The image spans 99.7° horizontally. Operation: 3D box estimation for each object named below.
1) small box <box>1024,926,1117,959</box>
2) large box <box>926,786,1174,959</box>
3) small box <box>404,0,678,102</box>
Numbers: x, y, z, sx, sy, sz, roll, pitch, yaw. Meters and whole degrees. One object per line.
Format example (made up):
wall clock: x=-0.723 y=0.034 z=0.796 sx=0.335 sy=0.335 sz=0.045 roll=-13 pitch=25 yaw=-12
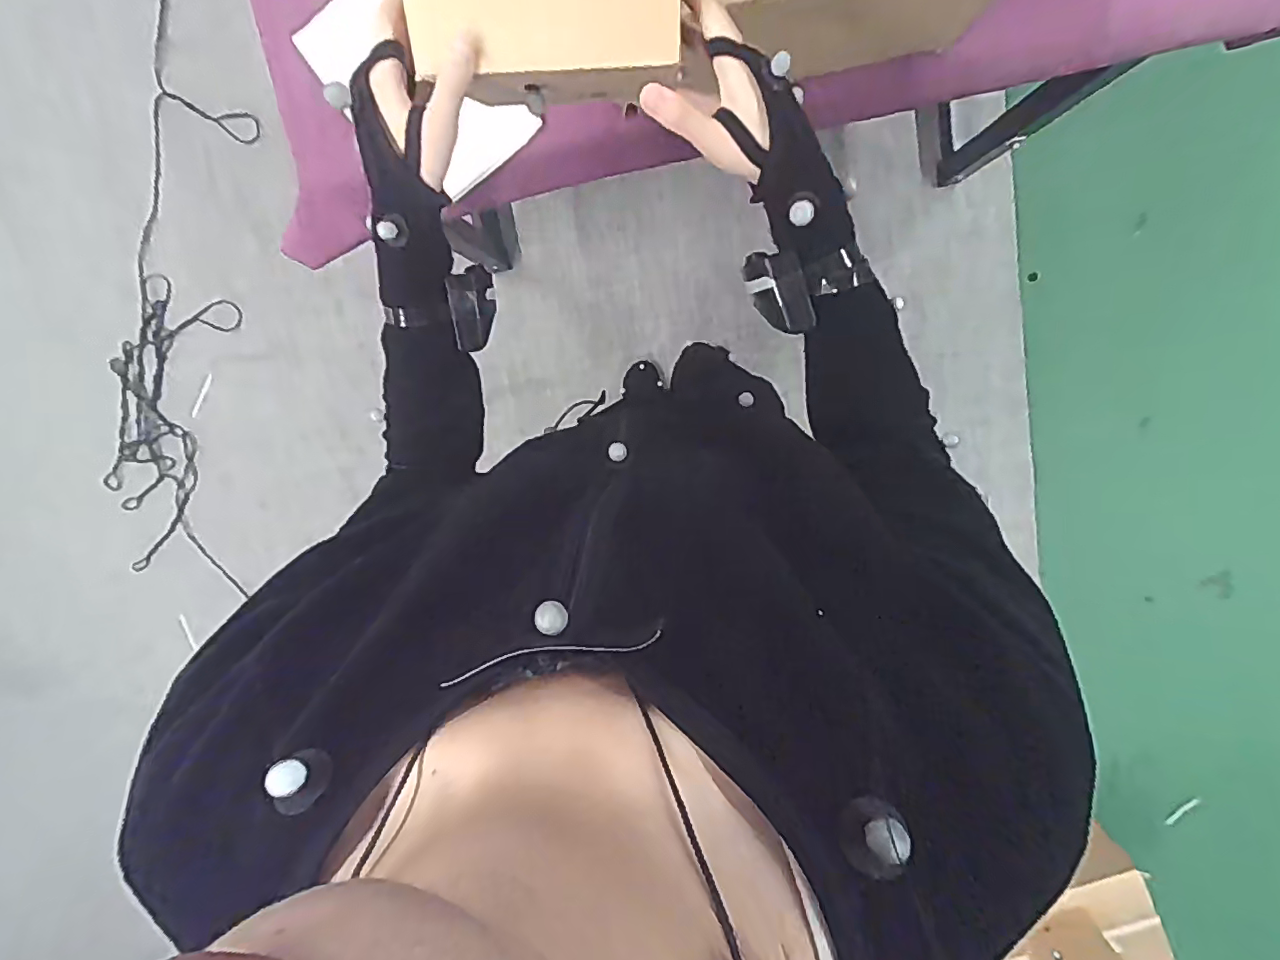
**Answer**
small box: x=1.042 y=1.190 z=1.257 sx=0.168 sy=0.176 sz=0.179 roll=-24 pitch=98 yaw=8
large box: x=1.100 y=1.141 z=1.493 sx=0.408 sy=0.320 sz=0.320 roll=-25 pitch=99 yaw=6
small box: x=-0.057 y=-0.367 z=0.362 sx=0.168 sy=0.176 sz=0.179 roll=-1 pitch=118 yaw=2
